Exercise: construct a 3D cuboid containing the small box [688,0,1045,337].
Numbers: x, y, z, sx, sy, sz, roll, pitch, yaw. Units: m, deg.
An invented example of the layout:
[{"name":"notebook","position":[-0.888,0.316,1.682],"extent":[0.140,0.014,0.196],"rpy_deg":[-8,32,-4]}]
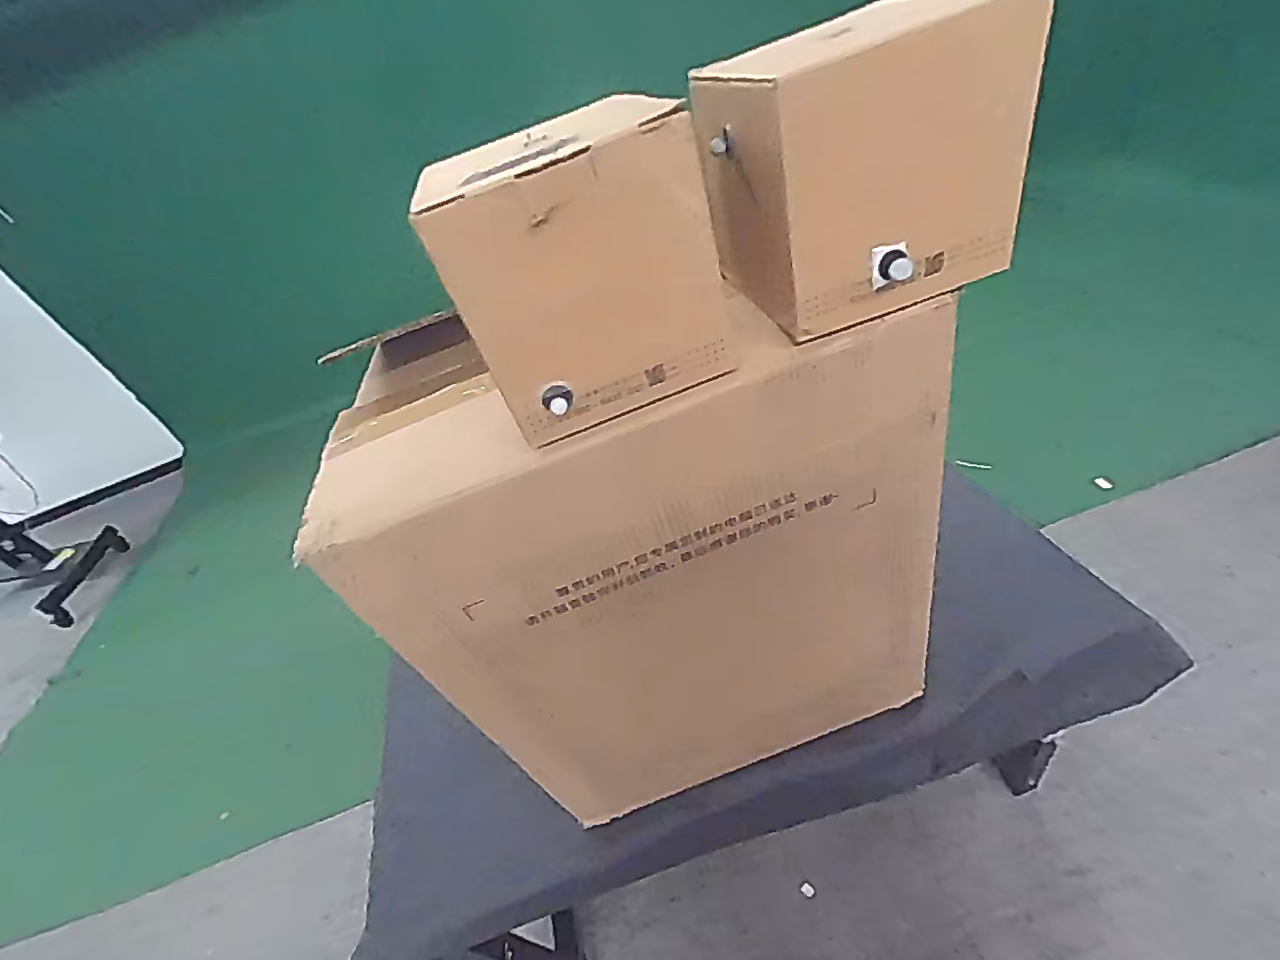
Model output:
[{"name":"small box","position":[0.153,-0.236,0.416],"extent":[0.168,0.176,0.179],"rpy_deg":[-22,40,-1]}]
